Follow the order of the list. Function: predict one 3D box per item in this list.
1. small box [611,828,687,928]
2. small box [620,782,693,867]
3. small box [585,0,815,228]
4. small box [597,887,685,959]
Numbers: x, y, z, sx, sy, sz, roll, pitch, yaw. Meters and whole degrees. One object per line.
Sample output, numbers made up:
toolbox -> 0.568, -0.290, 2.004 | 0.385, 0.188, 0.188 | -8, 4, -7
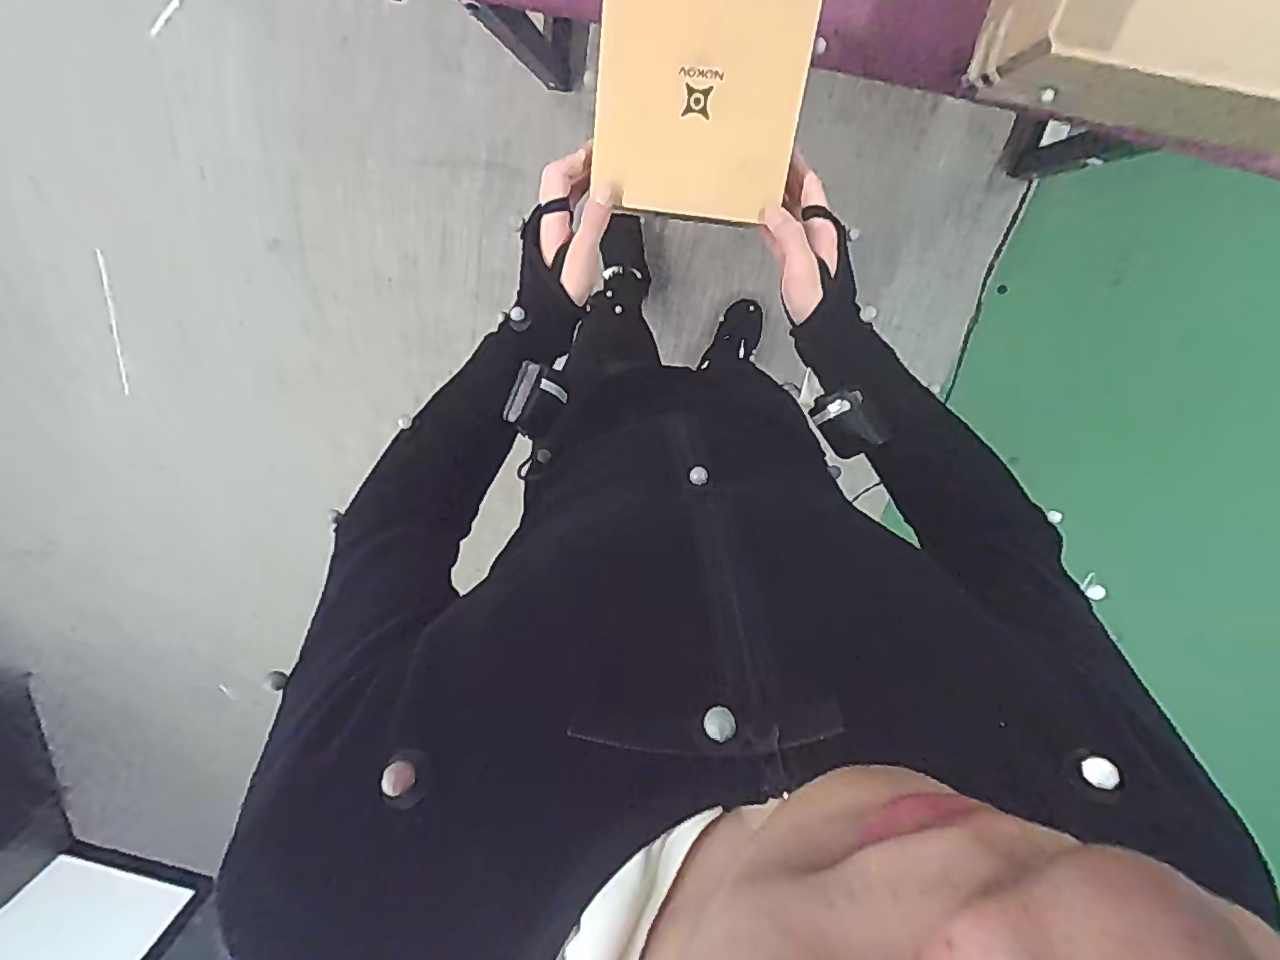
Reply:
small box -> 0.034, 1.142, 1.549 | 0.168, 0.176, 0.179 | -16, 108, 13
small box -> 0.058, 1.088, 1.701 | 0.179, 0.176, 0.168 | -18, 108, 14
small box -> 0.050, -0.339, 0.503 | 0.168, 0.176, 0.179 | 8, 112, 2
small box -> 0.009, 1.197, 1.397 | 0.179, 0.176, 0.168 | -18, 108, 12
